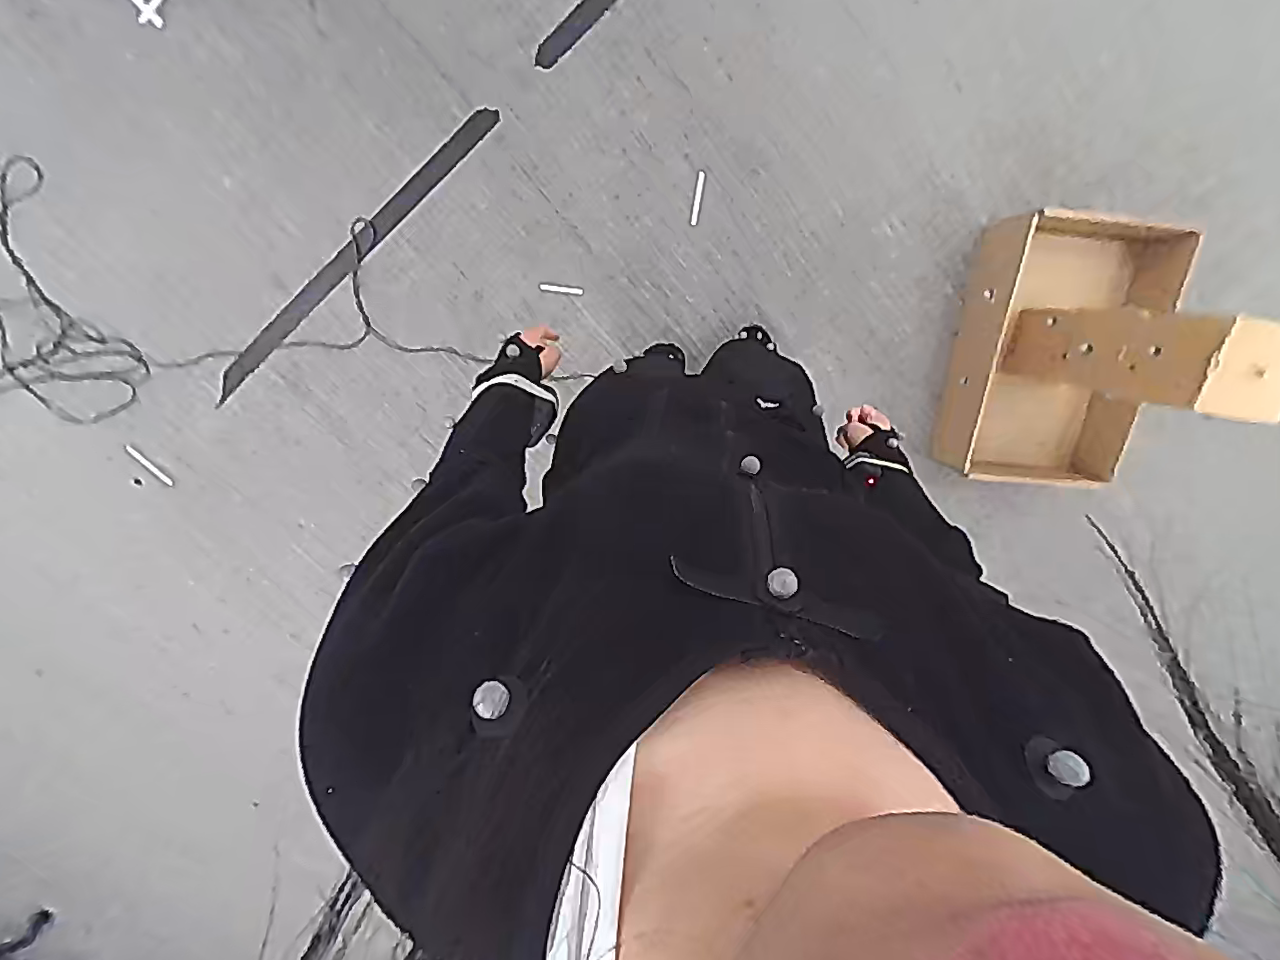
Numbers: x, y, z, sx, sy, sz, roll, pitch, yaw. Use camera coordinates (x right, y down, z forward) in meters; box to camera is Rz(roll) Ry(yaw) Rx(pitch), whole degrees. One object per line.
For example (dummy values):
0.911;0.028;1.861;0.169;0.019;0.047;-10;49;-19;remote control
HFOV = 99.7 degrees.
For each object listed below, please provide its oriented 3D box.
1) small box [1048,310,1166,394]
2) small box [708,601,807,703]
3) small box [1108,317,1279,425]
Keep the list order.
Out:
1.046;-0.270;1.174;0.179;0.176;0.168;9;108;-5;small box
0.262;0.403;1.254;0.168;0.176;0.179;10;108;-5;small box
1.061;-0.212;1.022;0.179;0.176;0.168;7;108;-5;small box
